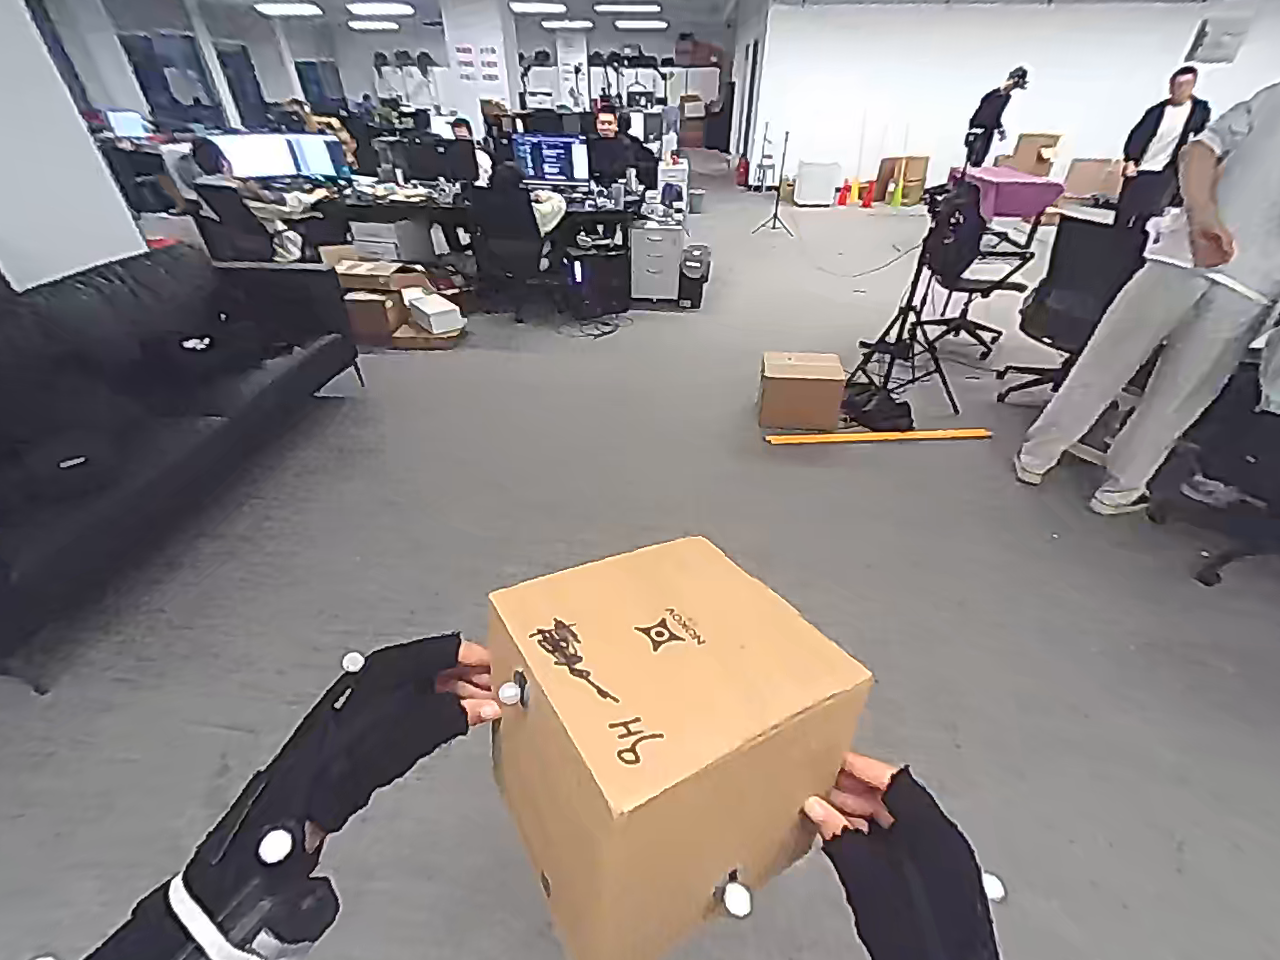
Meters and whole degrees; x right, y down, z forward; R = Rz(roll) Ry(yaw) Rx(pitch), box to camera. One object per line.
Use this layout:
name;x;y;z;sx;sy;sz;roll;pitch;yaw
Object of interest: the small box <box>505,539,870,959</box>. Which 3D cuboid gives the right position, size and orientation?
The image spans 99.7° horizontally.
small box;0.016;0.166;0.370;0.179;0.176;0.168;-10;29;-31
